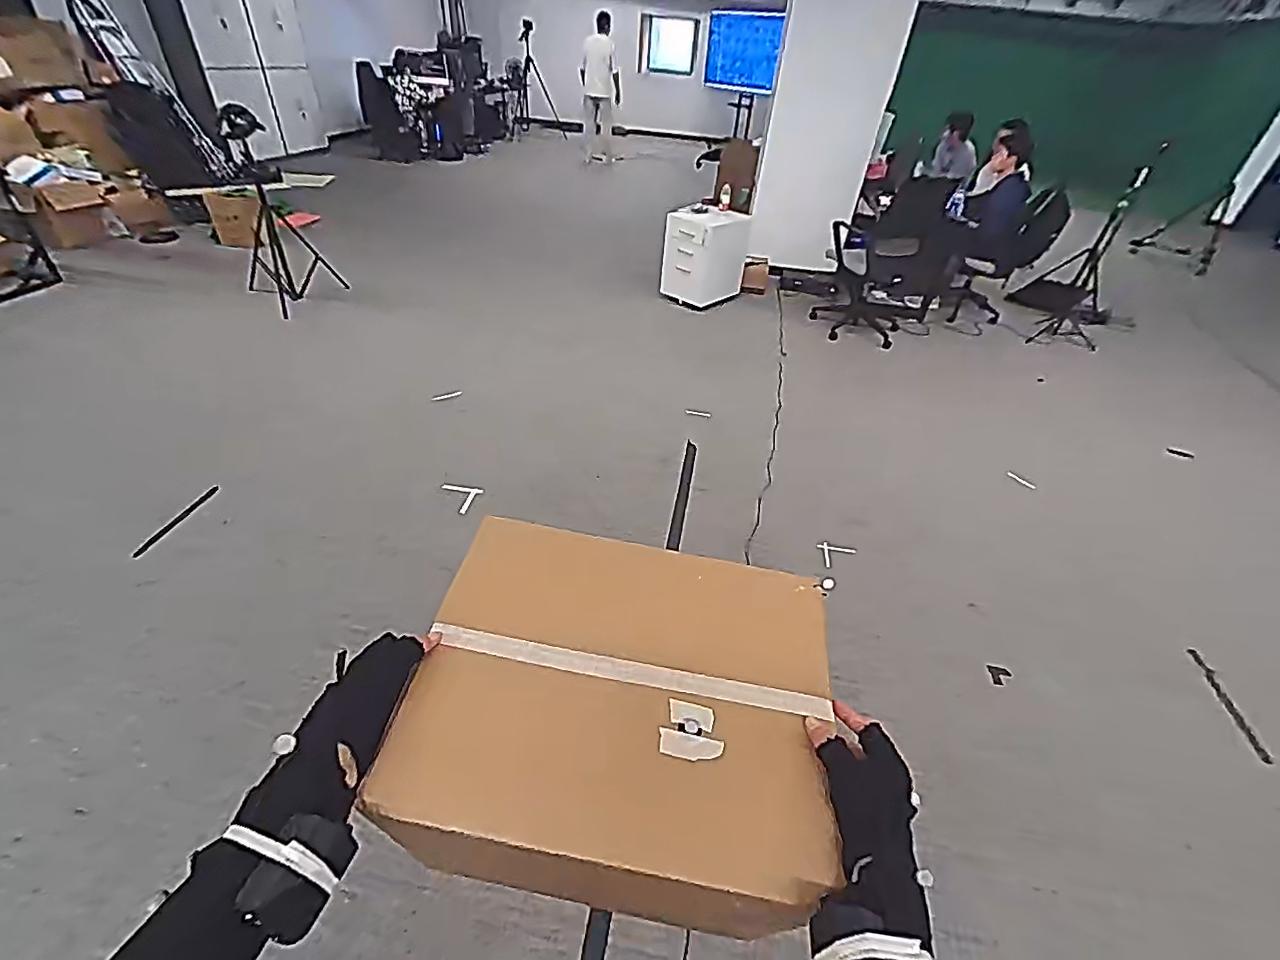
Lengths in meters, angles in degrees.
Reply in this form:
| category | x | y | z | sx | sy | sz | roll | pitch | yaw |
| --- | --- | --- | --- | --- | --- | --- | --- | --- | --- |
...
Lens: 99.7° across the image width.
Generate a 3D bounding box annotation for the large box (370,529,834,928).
| category | x | y | z | sx | sy | sz | roll | pitch | yaw |
| --- | --- | --- | --- | --- | --- | --- | --- | --- | --- |
| large box | -0.029 | 0.301 | 0.656 | 0.408 | 0.320 | 0.320 | 11 | 48 | 2 |
